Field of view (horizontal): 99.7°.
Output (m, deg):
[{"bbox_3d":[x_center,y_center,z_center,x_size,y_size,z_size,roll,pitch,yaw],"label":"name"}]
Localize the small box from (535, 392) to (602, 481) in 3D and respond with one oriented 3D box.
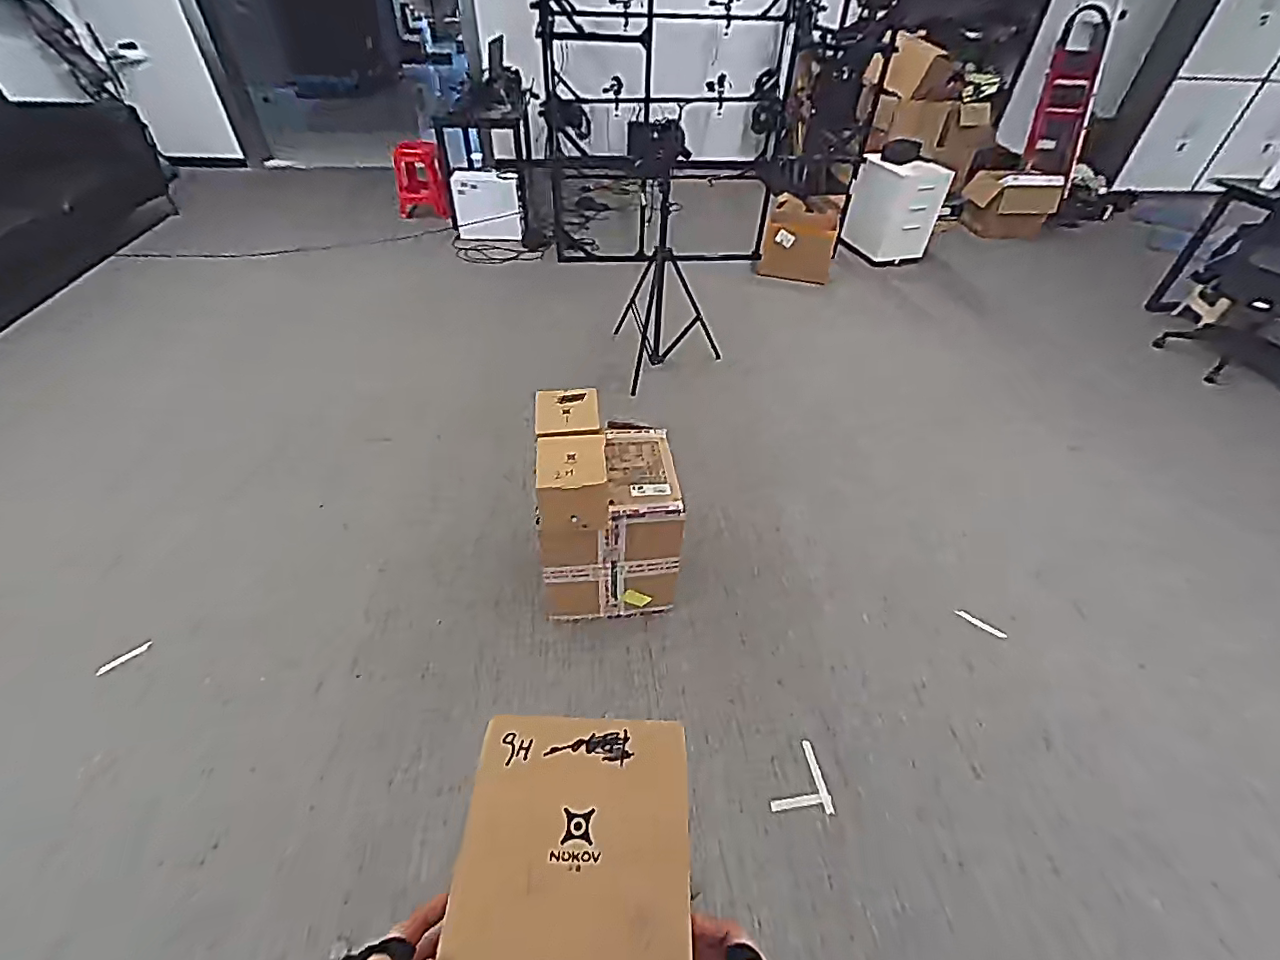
[{"bbox_3d":[-0.193,-0.119,1.480,0.168,0.176,0.179,-5,47,-5],"label":"small box"}]
